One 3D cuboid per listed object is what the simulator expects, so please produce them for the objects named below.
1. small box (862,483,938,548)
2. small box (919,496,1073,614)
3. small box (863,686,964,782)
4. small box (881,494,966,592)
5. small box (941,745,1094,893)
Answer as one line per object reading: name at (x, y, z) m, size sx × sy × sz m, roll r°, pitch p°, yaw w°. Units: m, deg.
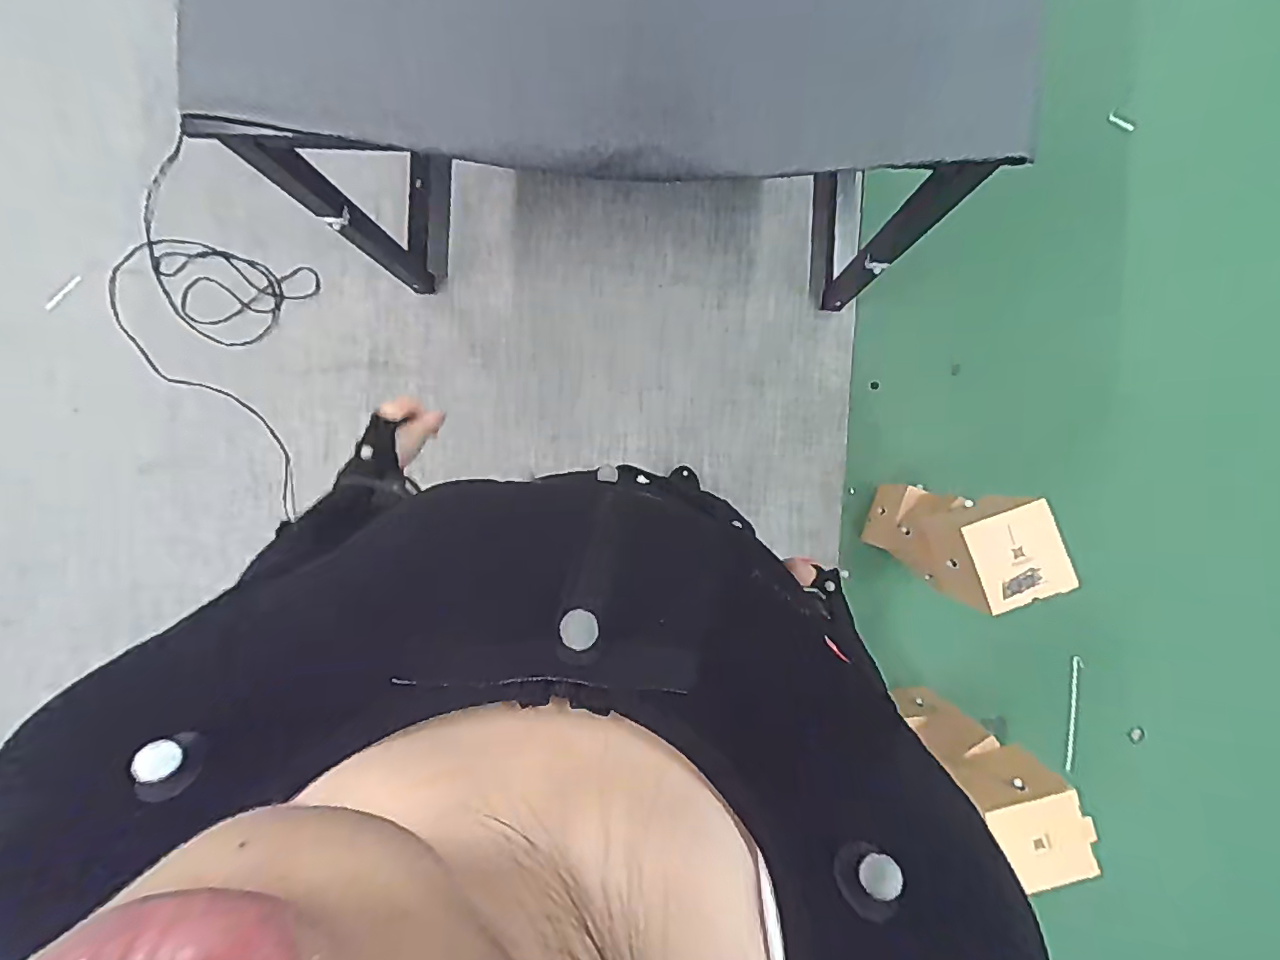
small box at (0.703, 0.113, 1.393) m, size 0.179 × 0.176 × 0.168 m, roll 20°, pitch 92°, yaw 1°
small box at (0.689, 0.139, 1.067) m, size 0.168 × 0.176 × 0.179 m, roll -20°, pitch 89°, yaw 2°
small box at (0.703, 0.648, 1.399) m, size 0.179 × 0.176 × 0.168 m, roll -6°, pitch 91°, yaw 0°
small box at (0.692, 0.146, 1.232) m, size 0.179 × 0.176 × 0.168 m, roll 40°, pitch 93°, yaw 0°
small box at (0.729, 0.660, 1.071) m, size 0.179 × 0.176 × 0.168 m, roll -16°, pitch 91°, yaw 1°
